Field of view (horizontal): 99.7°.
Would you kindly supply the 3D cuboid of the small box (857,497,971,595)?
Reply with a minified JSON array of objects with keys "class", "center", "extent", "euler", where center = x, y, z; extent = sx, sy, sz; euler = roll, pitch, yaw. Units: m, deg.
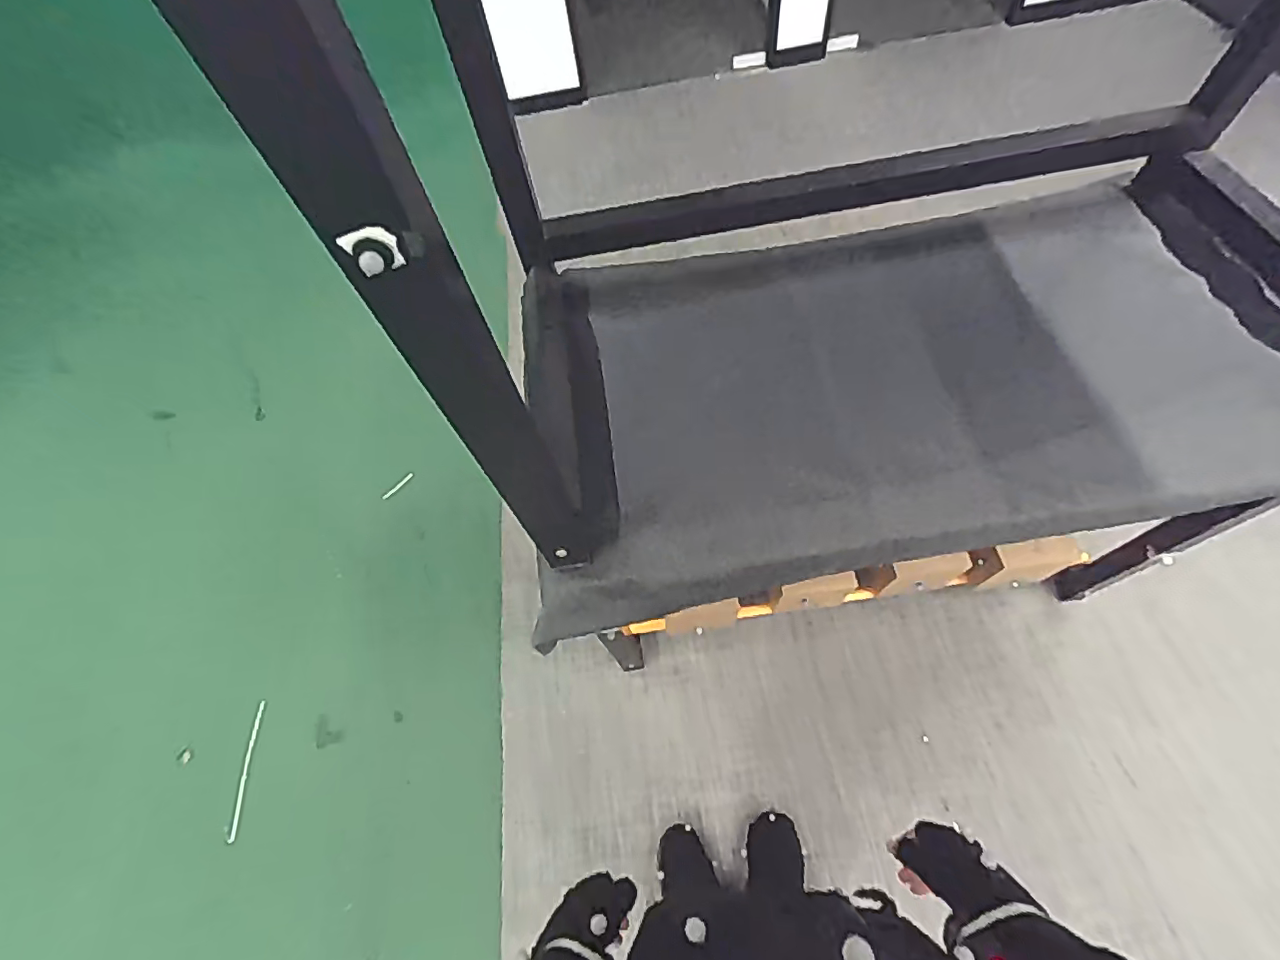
[{"class":"small box","center":[0.633,0.163,1.274],"extent":[0.168,0.176,0.179],"euler":[-10,61,2]}]

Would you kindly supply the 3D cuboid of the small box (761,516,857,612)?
[{"class":"small box","center":[0.391,0.205,1.279],"extent":[0.168,0.176,0.179],"euler":[-8,61,1]}]
